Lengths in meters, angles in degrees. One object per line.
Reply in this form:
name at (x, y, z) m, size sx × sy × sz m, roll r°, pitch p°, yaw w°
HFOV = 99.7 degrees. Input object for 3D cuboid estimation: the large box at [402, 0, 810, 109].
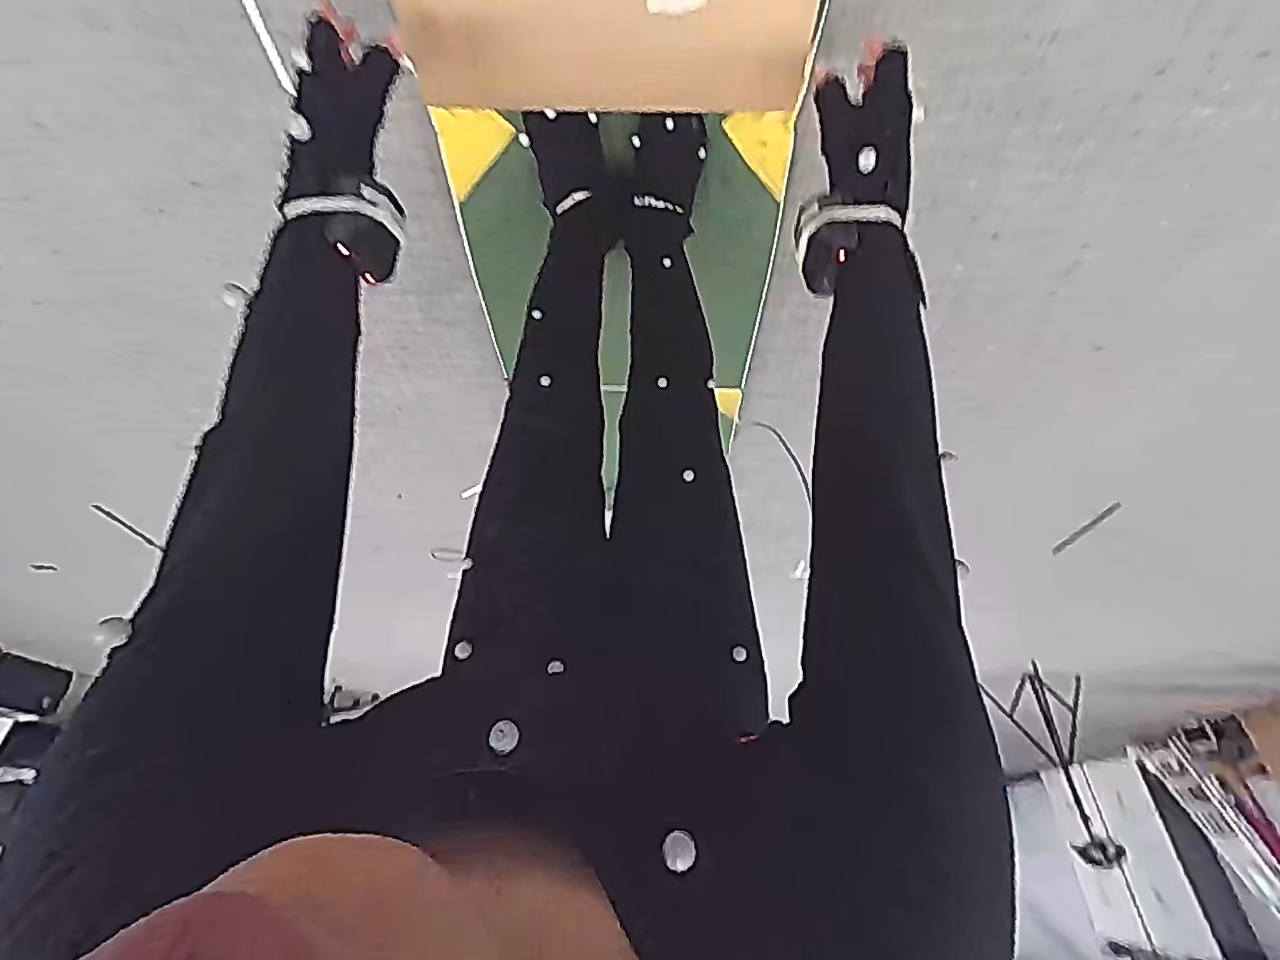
large box at (-0.036, -0.623, 0.556) m, size 0.408 × 0.320 × 0.320 m, roll -1°, pitch 146°, yaw -1°
